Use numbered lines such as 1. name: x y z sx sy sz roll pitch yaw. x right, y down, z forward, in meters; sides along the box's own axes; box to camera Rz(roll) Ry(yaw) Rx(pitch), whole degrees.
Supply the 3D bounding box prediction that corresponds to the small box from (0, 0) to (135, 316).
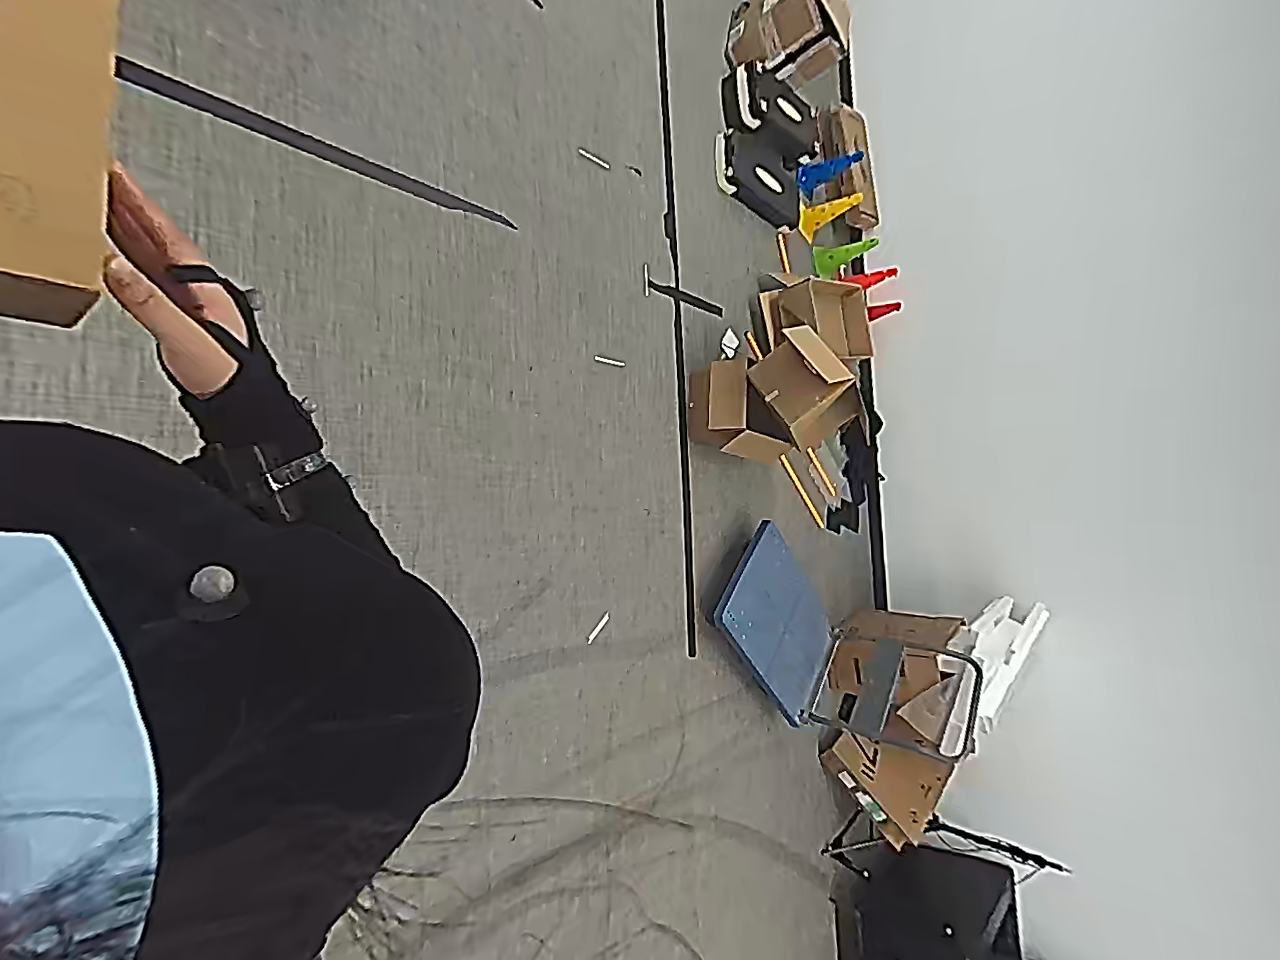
1. small box: -0.392 -0.197 0.282 0.168 0.176 0.179 2 91 -51
